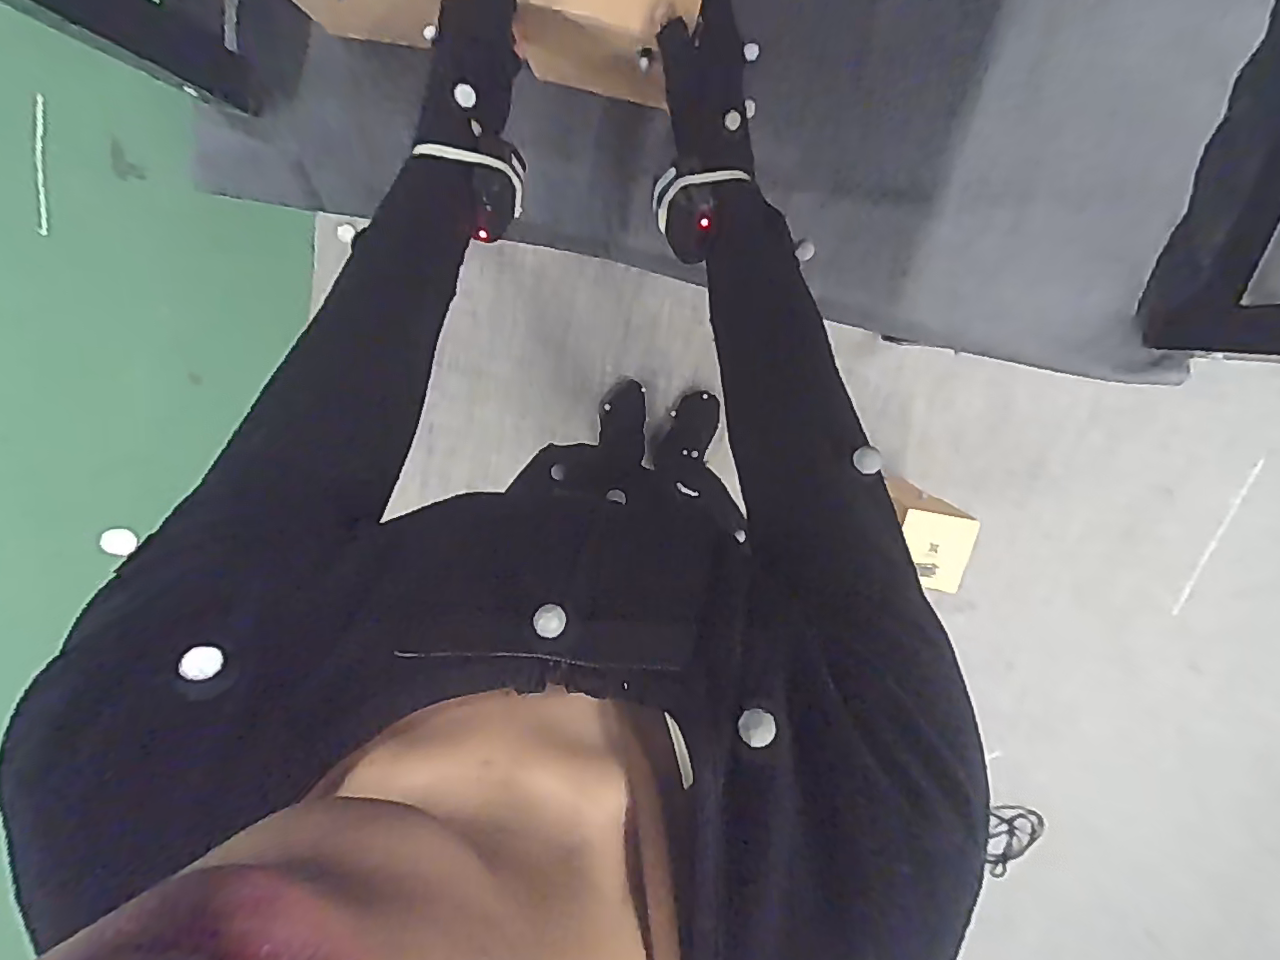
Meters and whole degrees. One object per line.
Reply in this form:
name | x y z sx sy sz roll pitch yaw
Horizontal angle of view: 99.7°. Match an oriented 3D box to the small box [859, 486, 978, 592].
small box | 0.630 0.131 1.253 0.168 0.176 0.179 11 105 -2
